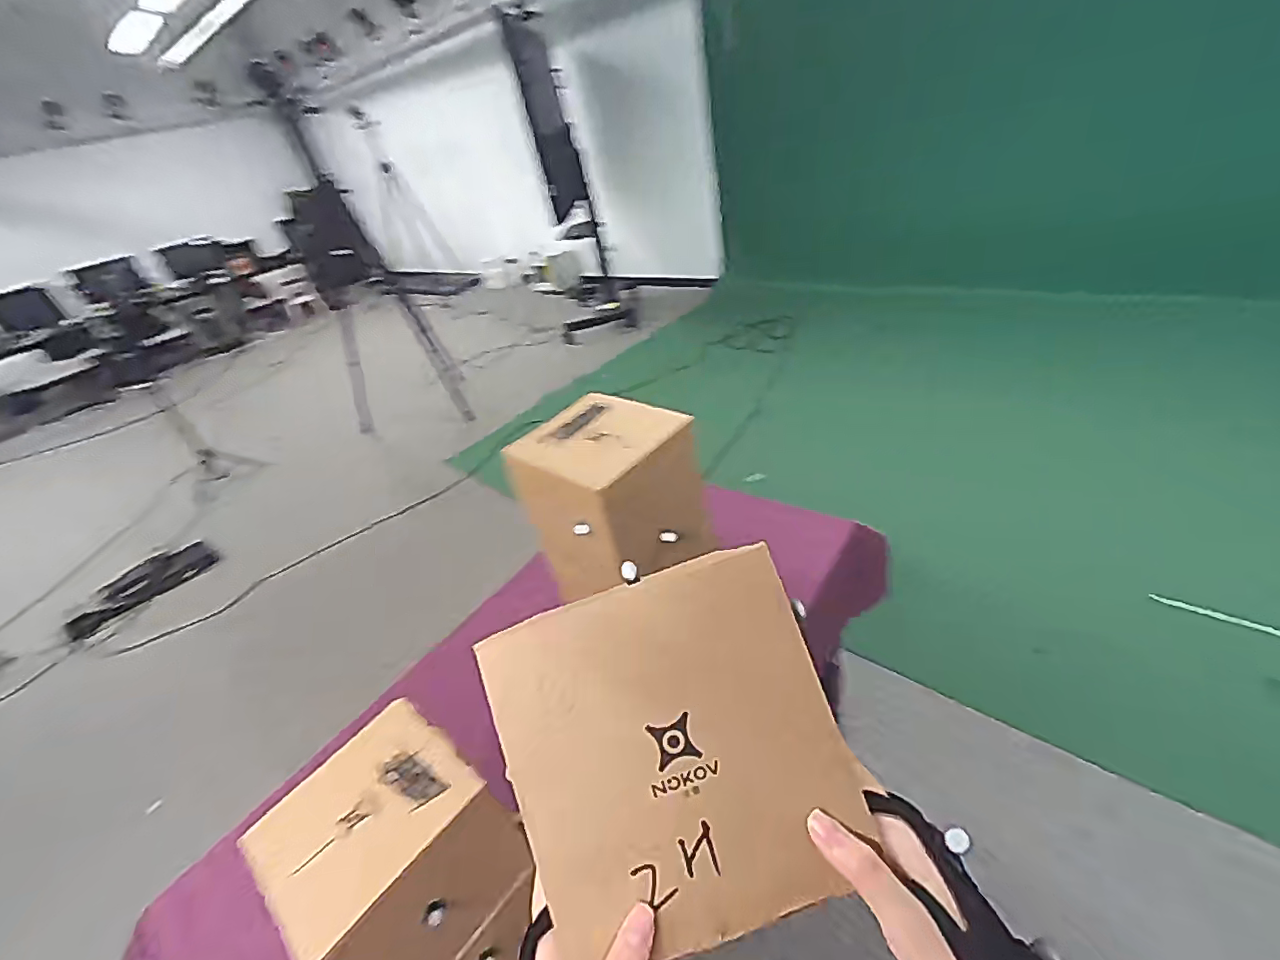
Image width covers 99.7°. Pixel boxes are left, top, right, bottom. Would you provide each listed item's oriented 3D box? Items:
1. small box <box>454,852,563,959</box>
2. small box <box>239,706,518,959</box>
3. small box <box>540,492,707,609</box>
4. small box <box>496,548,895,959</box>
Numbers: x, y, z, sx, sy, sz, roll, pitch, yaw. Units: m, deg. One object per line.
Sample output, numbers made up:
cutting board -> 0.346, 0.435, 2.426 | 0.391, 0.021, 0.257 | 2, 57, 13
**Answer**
small box -> -0.216, 0.515, 0.638 | 0.168, 0.176, 0.179 | 19, 45, 37
small box -> -0.246, 0.381, 0.550 | 0.168, 0.176, 0.179 | 18, 47, 37
small box -> -0.014, 0.147, 0.801 | 0.179, 0.176, 0.168 | 18, 46, 37
small box -> 0.025, 0.155, 0.356 | 0.168, 0.179, 0.176 | -18, -9, -2
